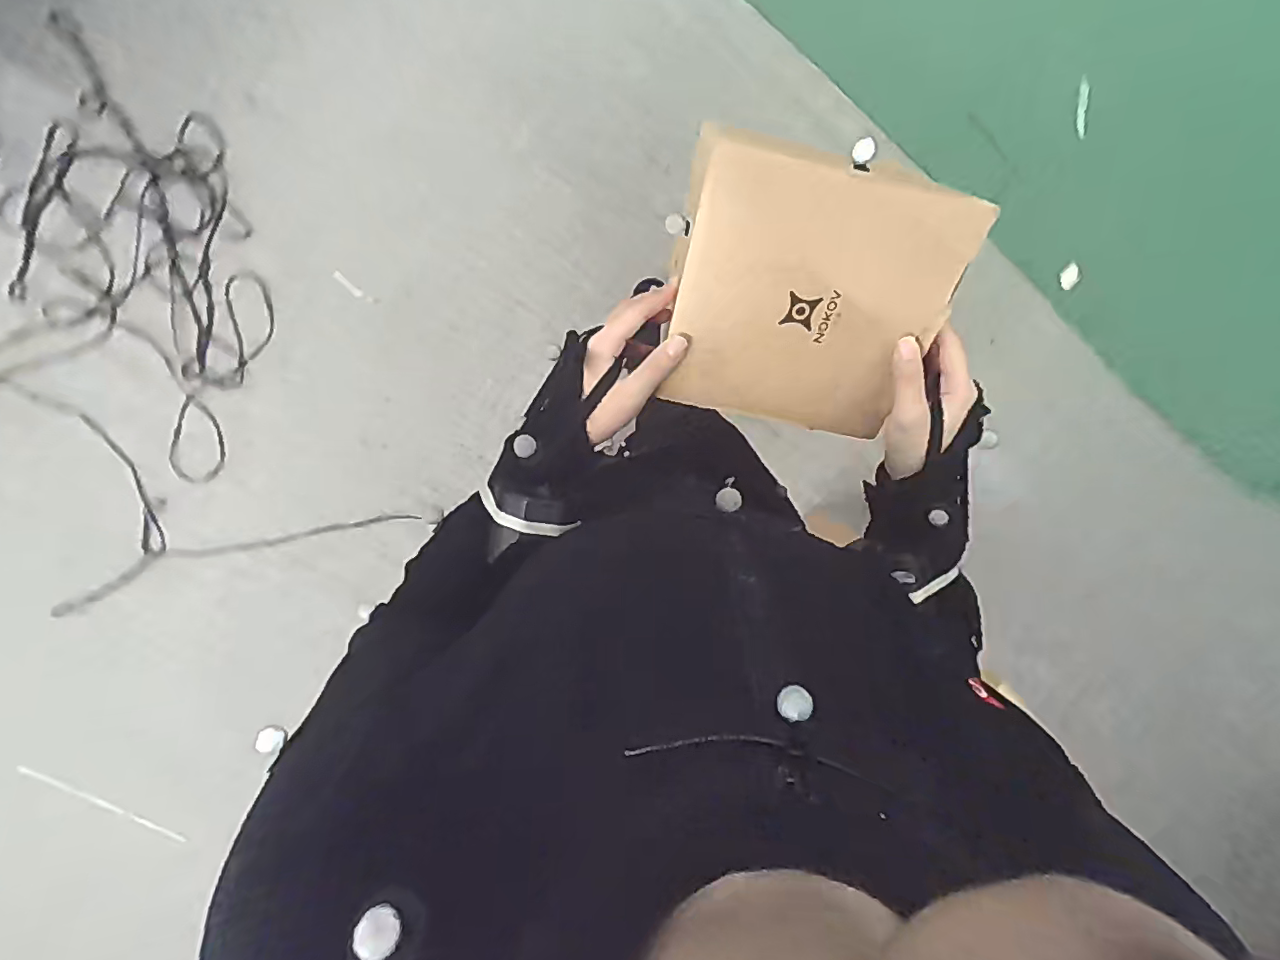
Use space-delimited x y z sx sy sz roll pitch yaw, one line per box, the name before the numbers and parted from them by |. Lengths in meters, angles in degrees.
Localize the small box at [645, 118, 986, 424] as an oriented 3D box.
small box | 0.106 -0.167 0.416 0.179 0.176 0.168 9 126 -3
